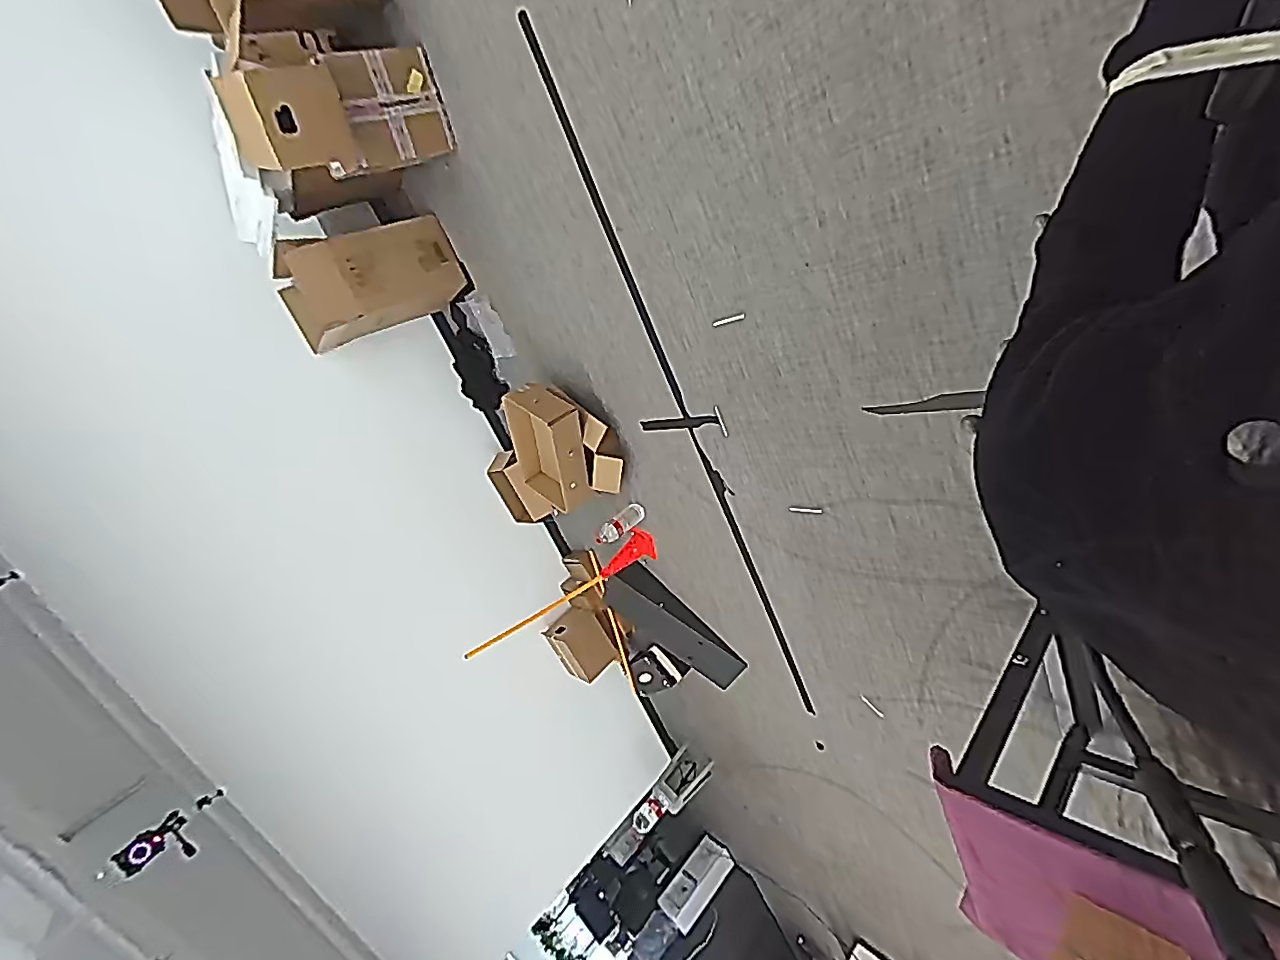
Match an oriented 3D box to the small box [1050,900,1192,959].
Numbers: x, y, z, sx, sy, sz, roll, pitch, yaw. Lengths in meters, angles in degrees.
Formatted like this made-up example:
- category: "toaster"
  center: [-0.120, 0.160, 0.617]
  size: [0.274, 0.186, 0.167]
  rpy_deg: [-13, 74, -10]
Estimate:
- category: "small box"
  center: [0.928, 0.967, 1.043]
  size: [0.179, 0.176, 0.168]
  rpy_deg: [4, 125, 52]
